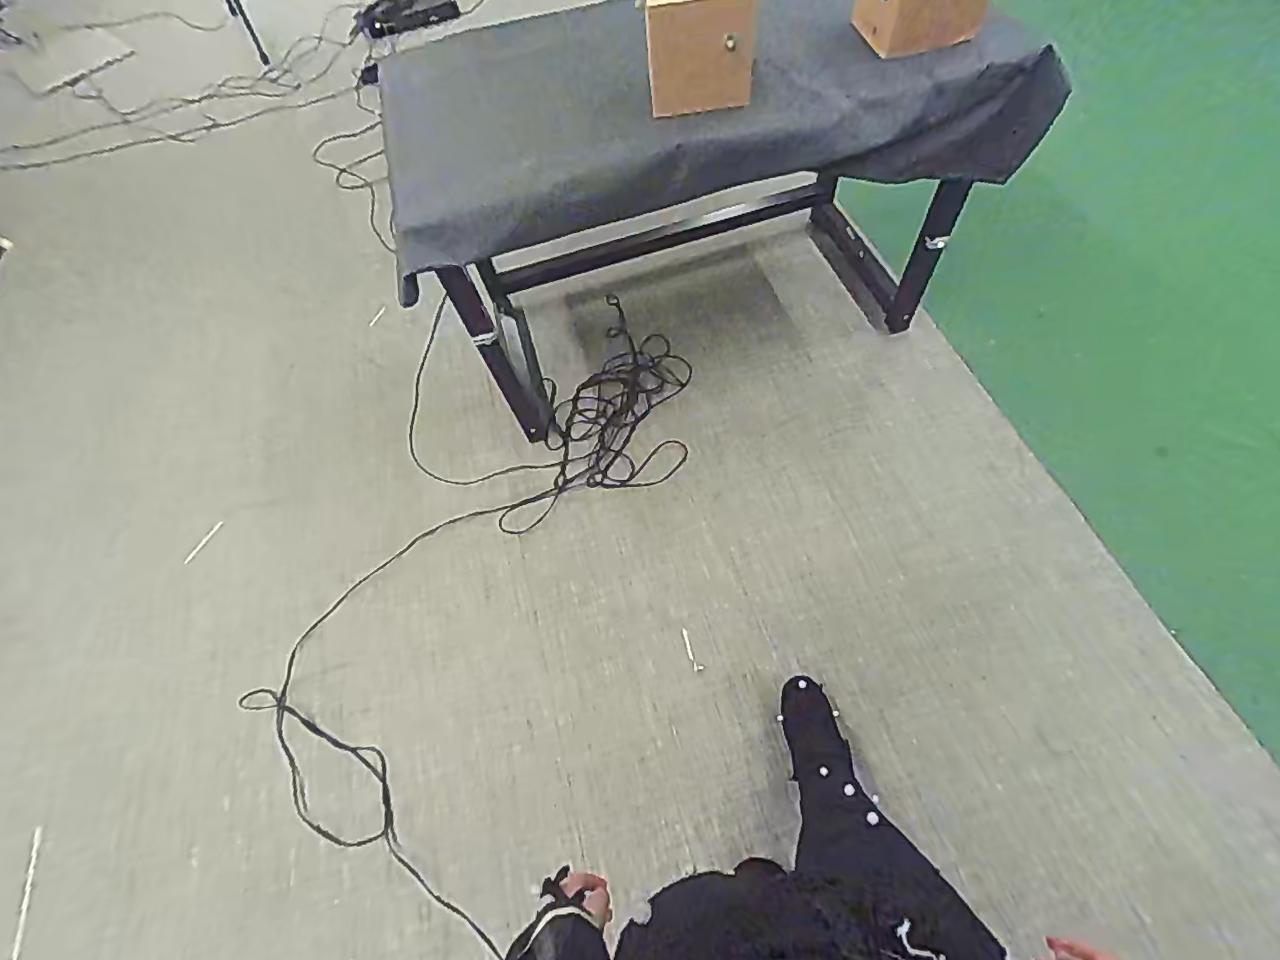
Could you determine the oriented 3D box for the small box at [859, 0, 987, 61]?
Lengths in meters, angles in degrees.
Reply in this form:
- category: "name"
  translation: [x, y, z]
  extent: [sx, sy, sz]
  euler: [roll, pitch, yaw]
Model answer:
- category: "small box"
  translation: [0.513, -0.893, 0.971]
  extent: [0.179, 0.176, 0.168]
  euler: [-12, 62, 0]
